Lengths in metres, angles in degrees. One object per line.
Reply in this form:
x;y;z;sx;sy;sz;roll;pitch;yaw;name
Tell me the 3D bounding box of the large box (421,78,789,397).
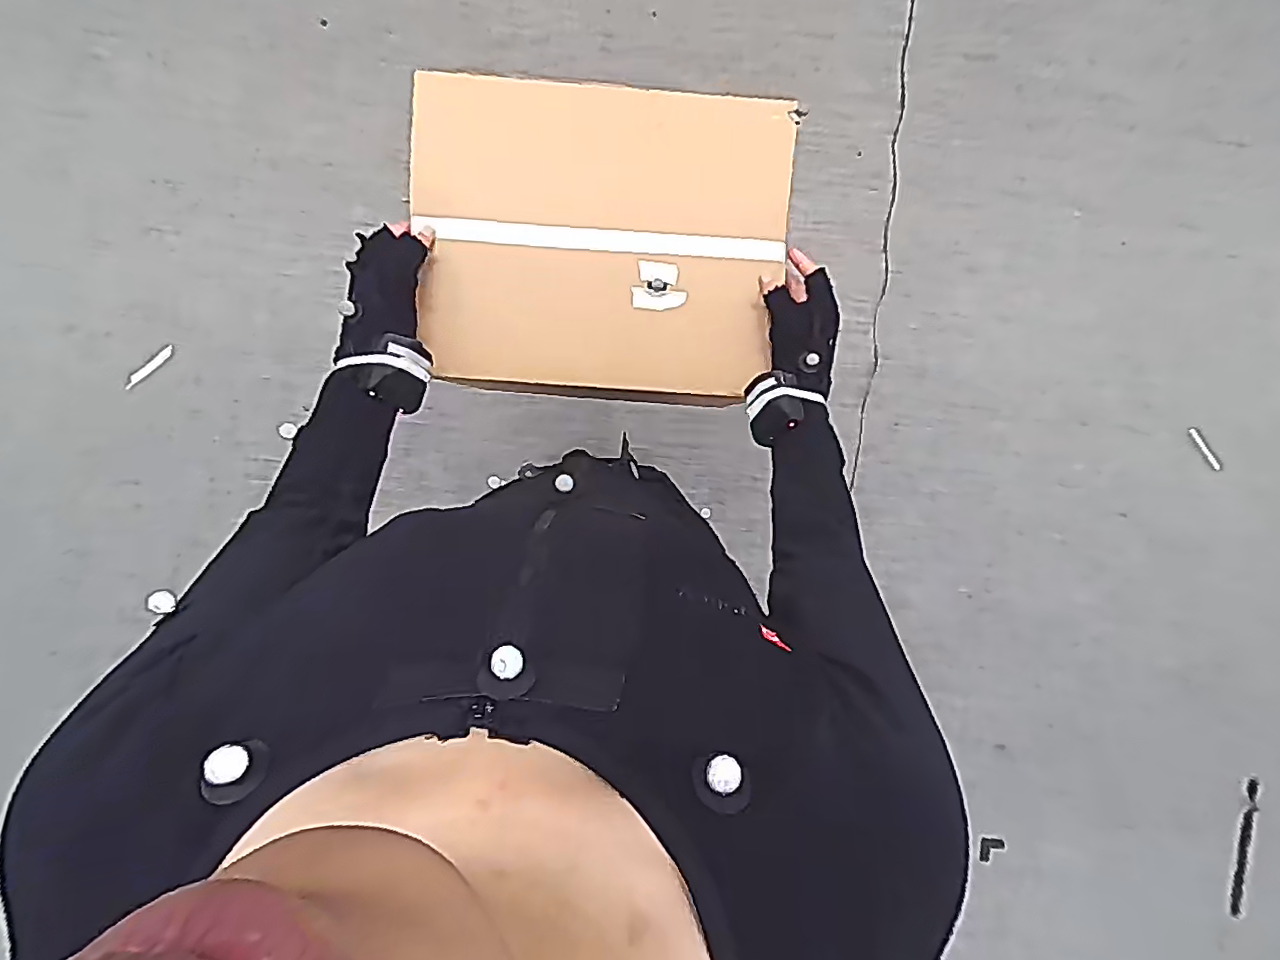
-0.048;-0.285;0.747;0.408;0.320;0.320;3;97;-2;large box
